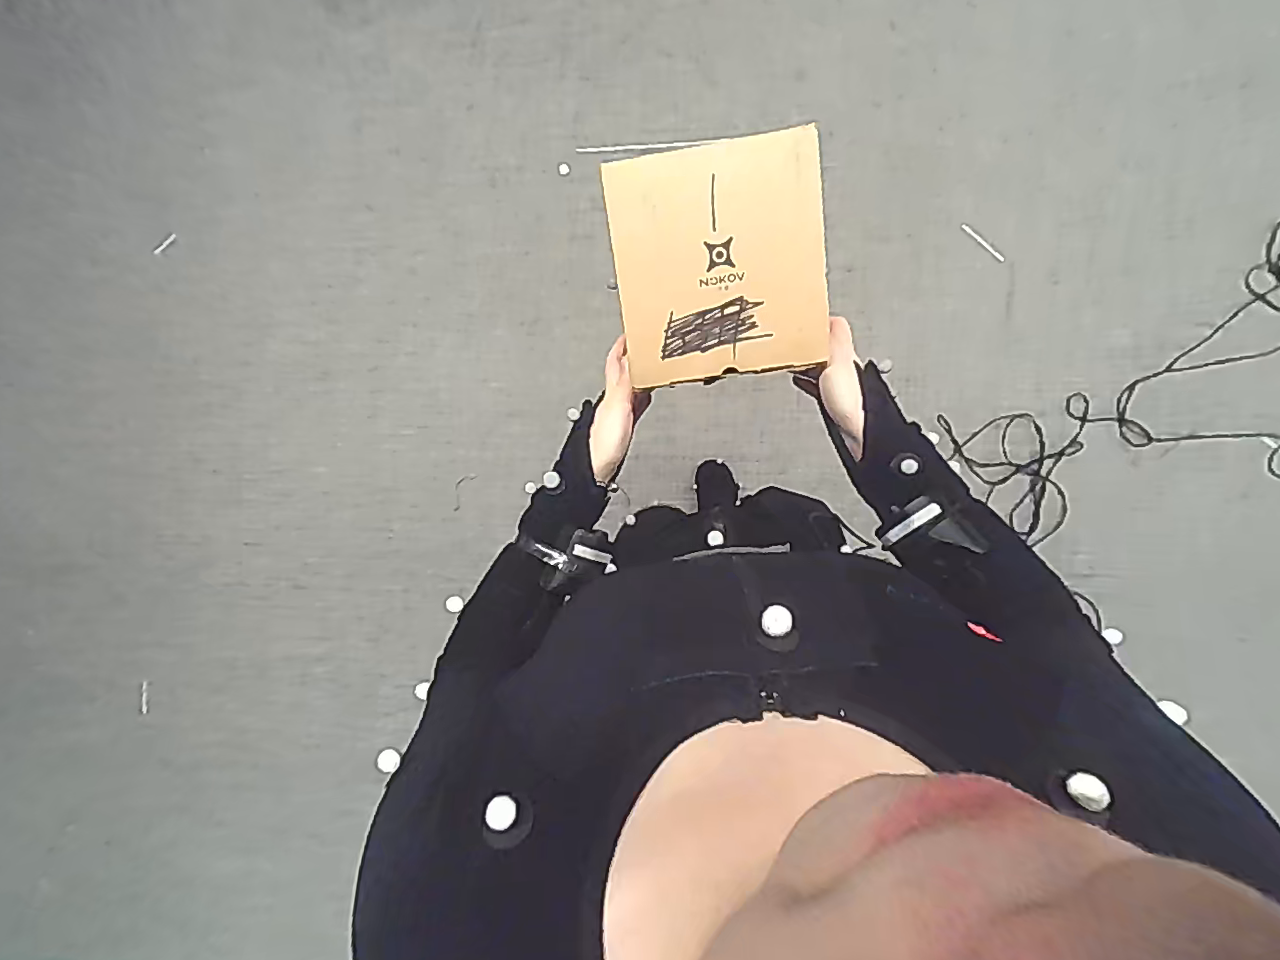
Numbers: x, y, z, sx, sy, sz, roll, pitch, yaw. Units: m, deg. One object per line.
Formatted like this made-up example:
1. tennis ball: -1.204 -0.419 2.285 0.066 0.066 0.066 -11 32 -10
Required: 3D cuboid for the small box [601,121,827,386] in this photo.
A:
1. small box: 0.066 -0.193 0.499 0.168 0.176 0.179 -7 105 5
